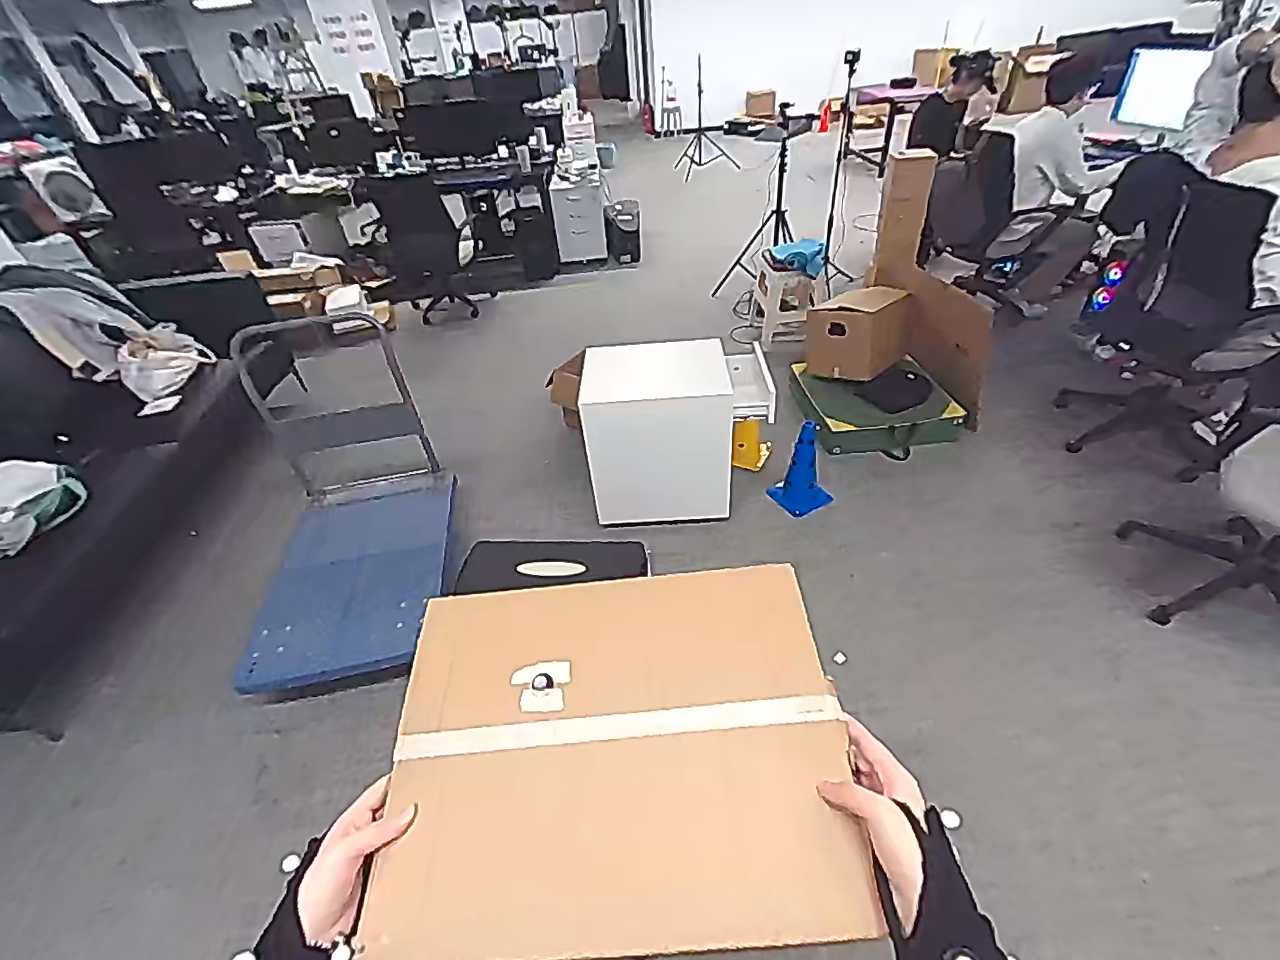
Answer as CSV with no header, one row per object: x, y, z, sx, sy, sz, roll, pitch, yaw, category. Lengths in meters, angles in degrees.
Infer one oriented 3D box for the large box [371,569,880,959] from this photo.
-0.006,0.335,0.618,0.408,0.320,0.320,-8,49,3,large box
